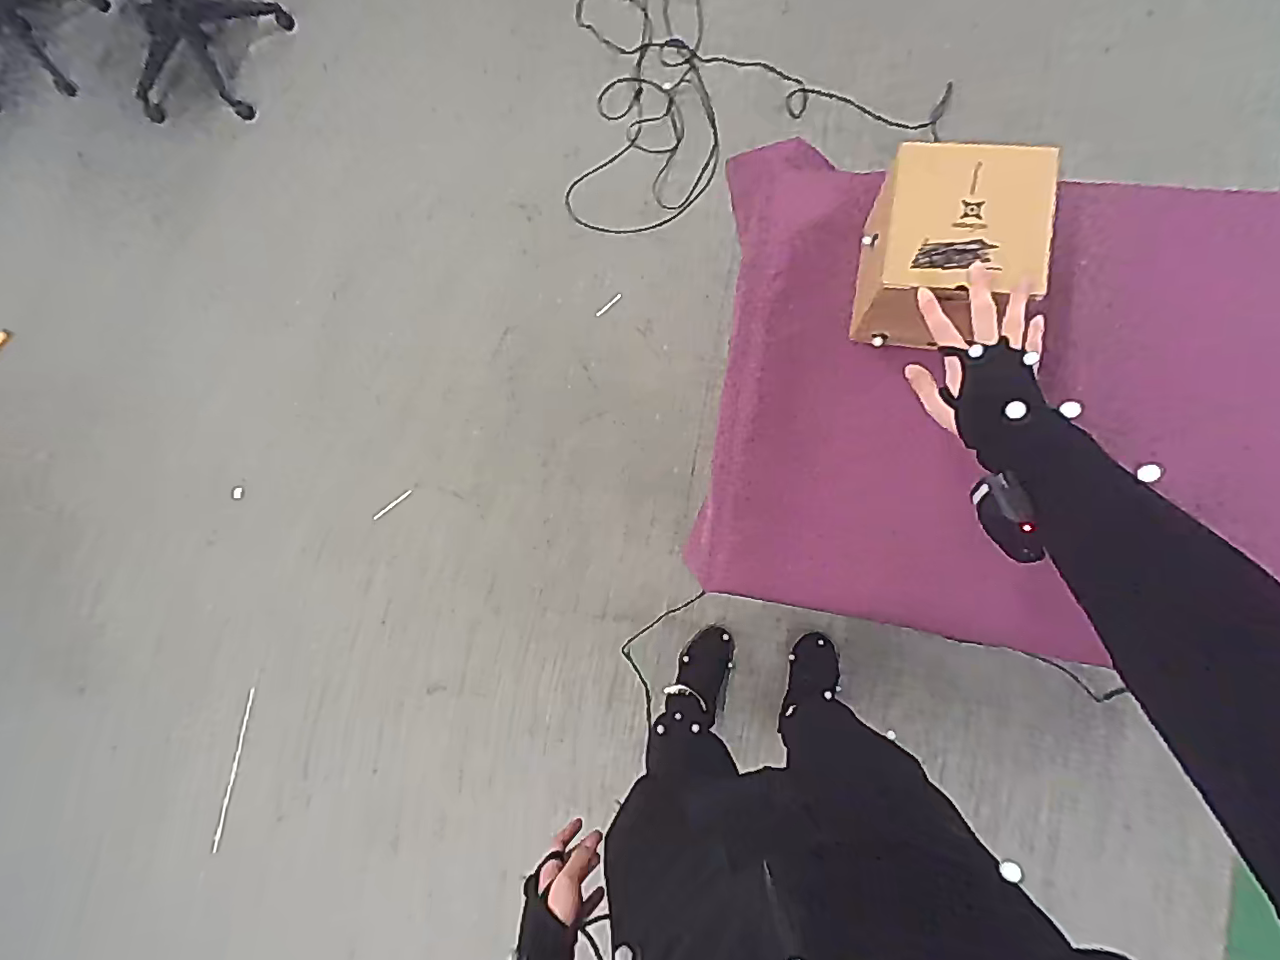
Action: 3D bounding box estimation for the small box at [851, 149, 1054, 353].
[{"bbox_3d":[0.372,-0.273,0.675,0.168,0.176,0.179,9,83,10],"label":"small box"}]
